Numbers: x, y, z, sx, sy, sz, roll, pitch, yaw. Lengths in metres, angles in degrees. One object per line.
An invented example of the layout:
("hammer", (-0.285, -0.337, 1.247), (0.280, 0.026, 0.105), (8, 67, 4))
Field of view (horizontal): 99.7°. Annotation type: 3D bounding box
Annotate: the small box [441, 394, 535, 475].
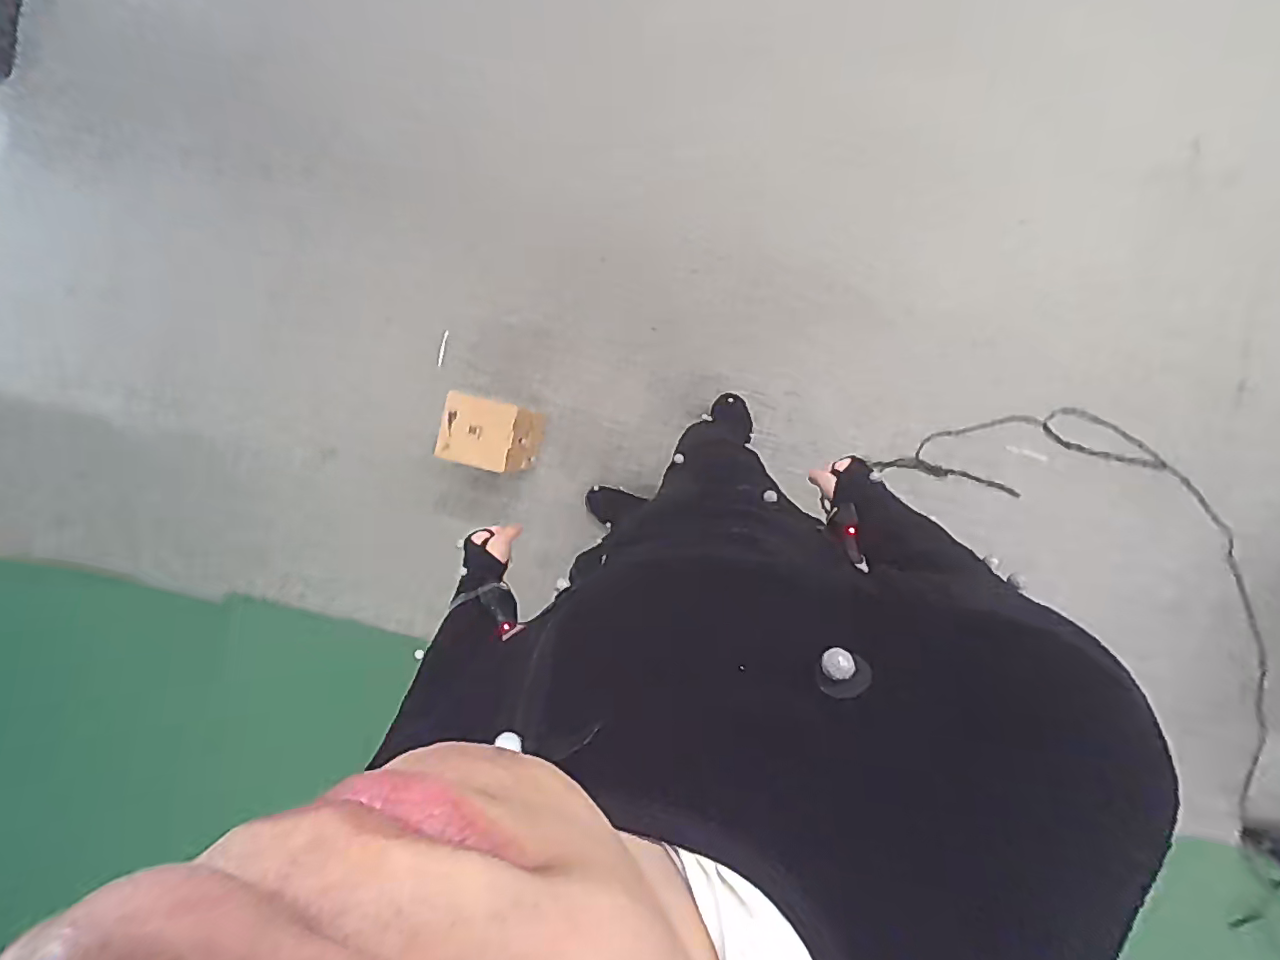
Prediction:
("small box", (-0.379, -0.115, 1.381), (0.179, 0.176, 0.168), (13, 93, 1))
